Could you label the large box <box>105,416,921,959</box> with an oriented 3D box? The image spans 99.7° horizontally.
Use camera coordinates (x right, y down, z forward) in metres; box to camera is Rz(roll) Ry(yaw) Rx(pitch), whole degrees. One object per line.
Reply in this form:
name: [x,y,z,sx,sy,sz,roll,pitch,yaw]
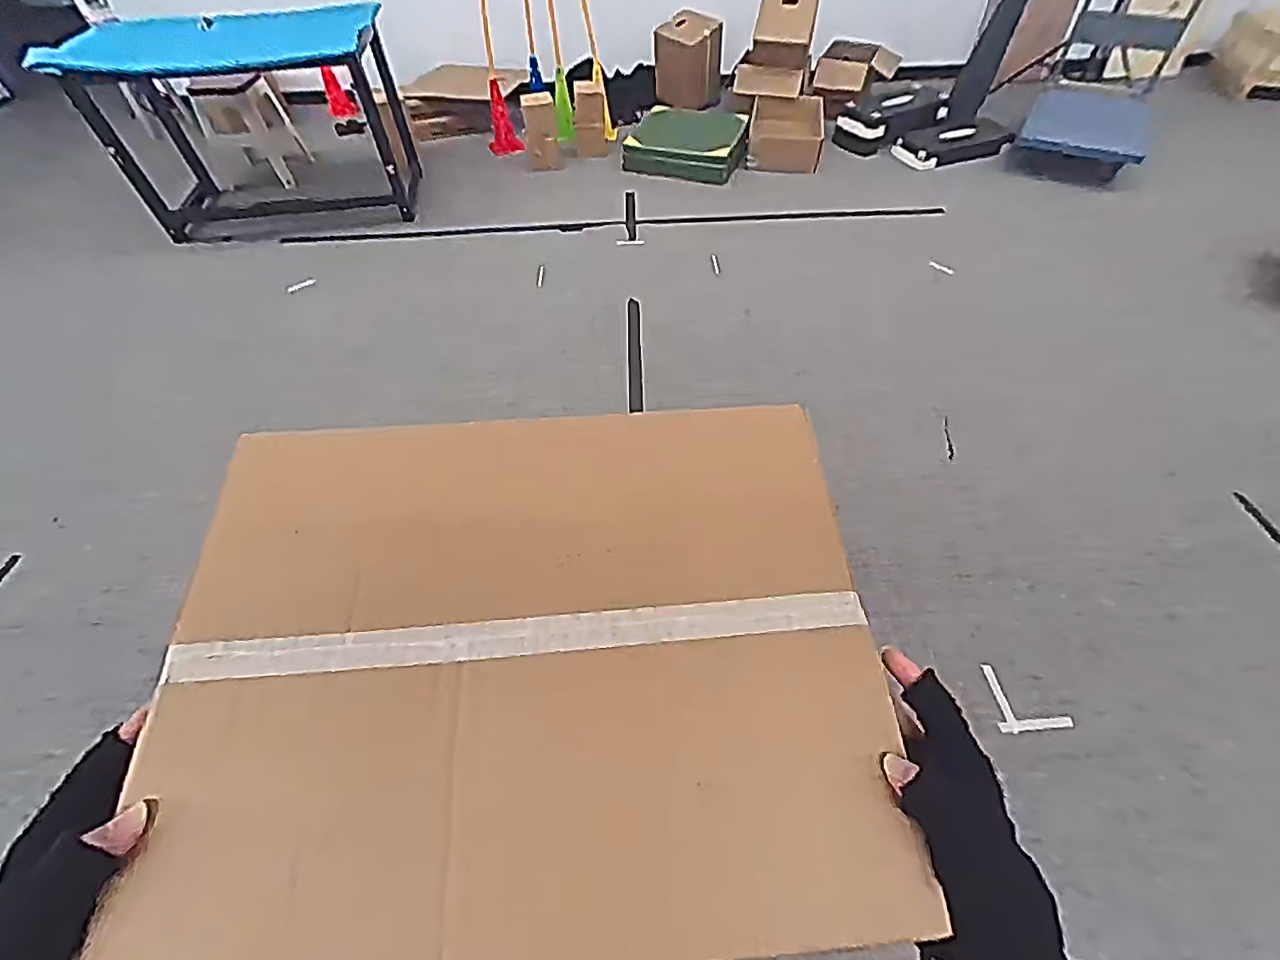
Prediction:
large box: [-0.069,0.170,0.457,0.408,0.320,0.320,-4,61,-3]
